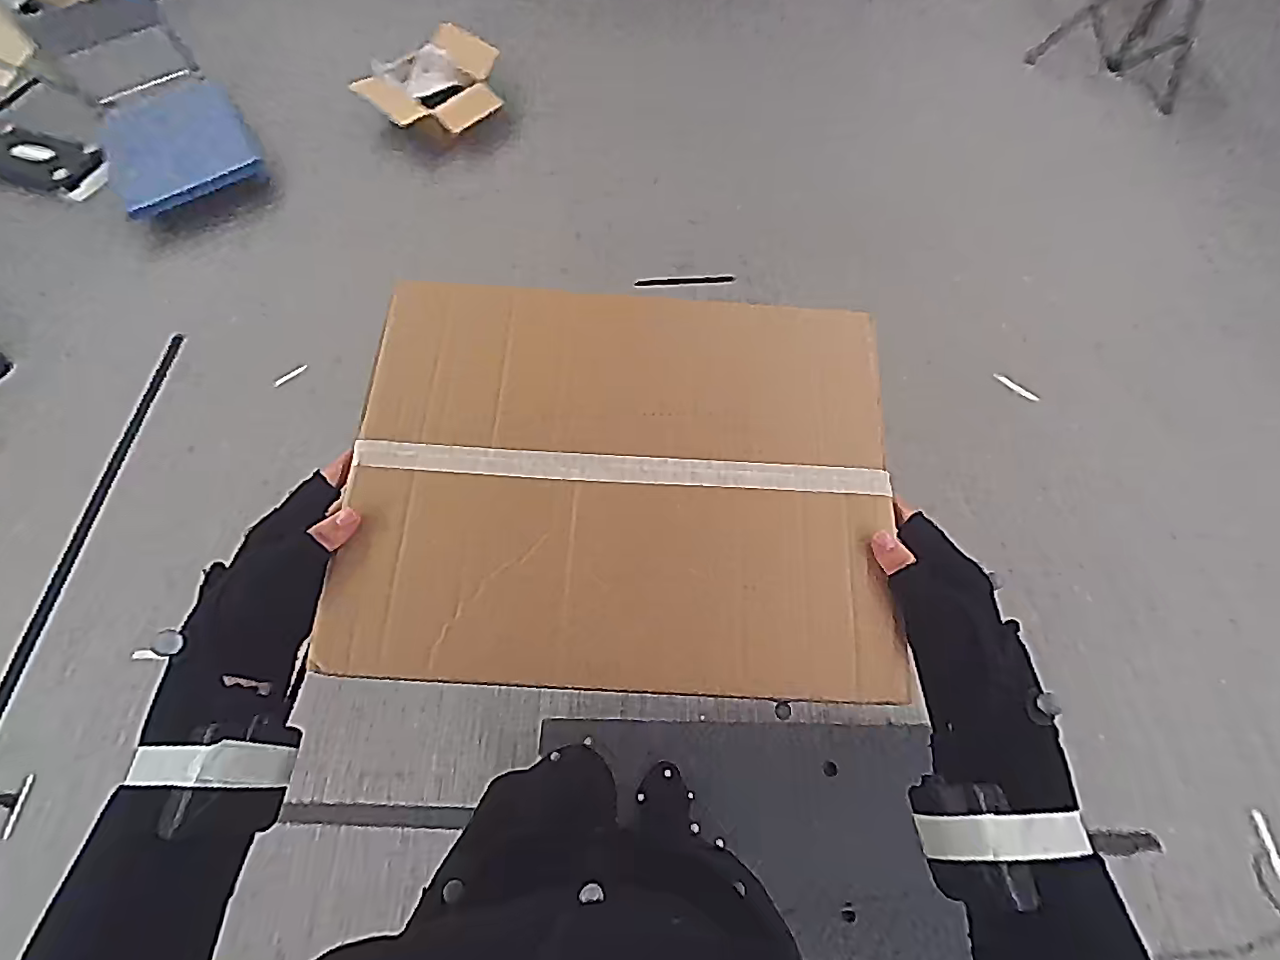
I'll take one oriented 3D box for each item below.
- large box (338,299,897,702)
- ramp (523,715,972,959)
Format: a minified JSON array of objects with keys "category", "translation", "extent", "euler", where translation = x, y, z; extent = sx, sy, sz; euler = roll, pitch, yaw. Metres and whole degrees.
[{"category":"large box","translation":[-0.010,0.044,0.566],"extent":[0.408,0.320,0.320],"euler":[4,71,-1]},{"category":"ramp","translation":[0.253,0.818,1.261],"extent":[0.991,0.206,0.509],"euler":[-2,63,2]}]
